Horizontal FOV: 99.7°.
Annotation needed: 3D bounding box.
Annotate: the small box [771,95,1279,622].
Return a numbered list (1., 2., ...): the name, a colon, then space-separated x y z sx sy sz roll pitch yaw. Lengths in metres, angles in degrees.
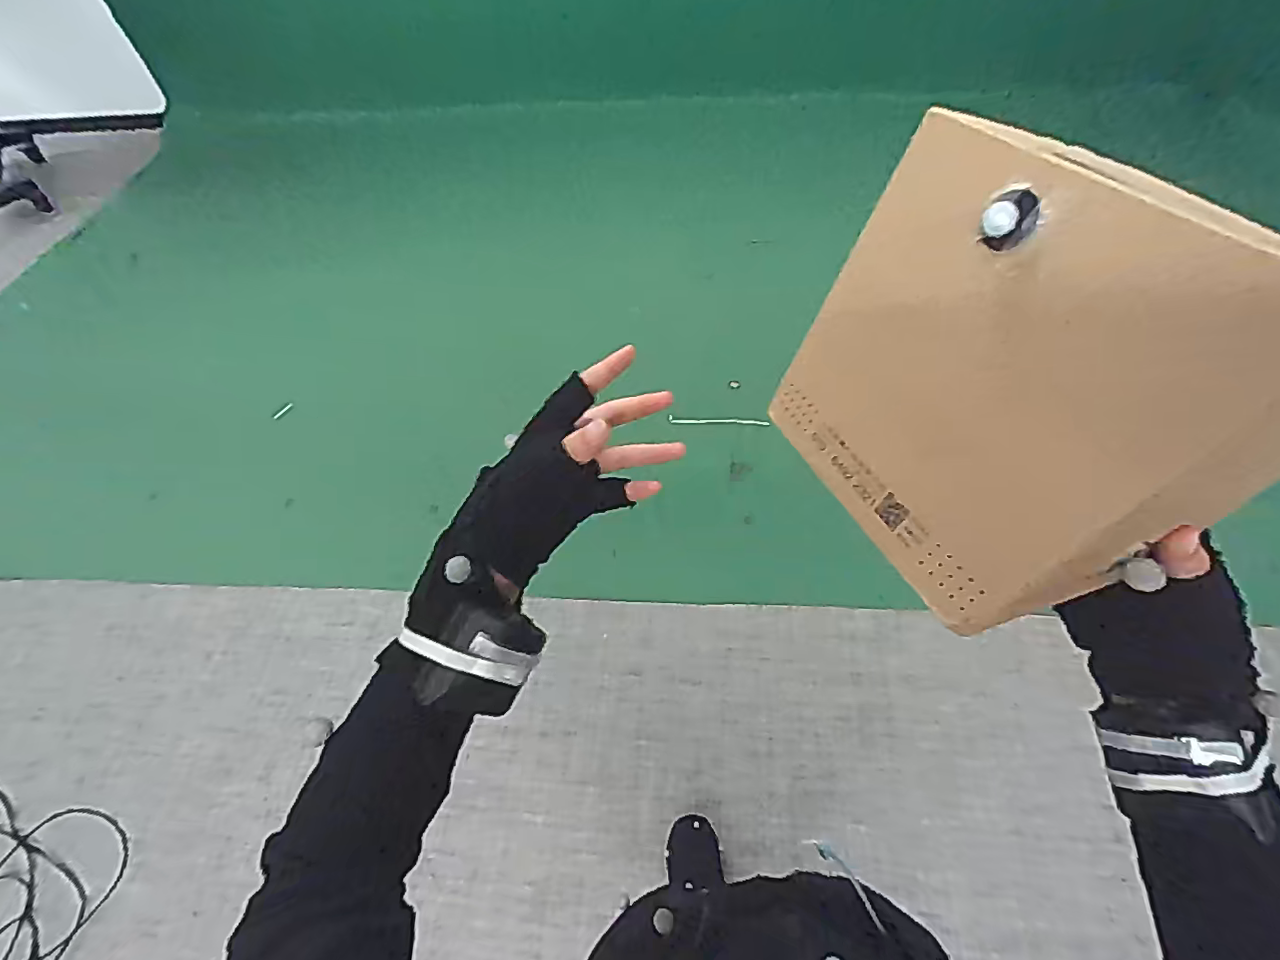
1. small box: 0.201 -0.053 0.273 0.179 0.176 0.168 -6 48 -28
